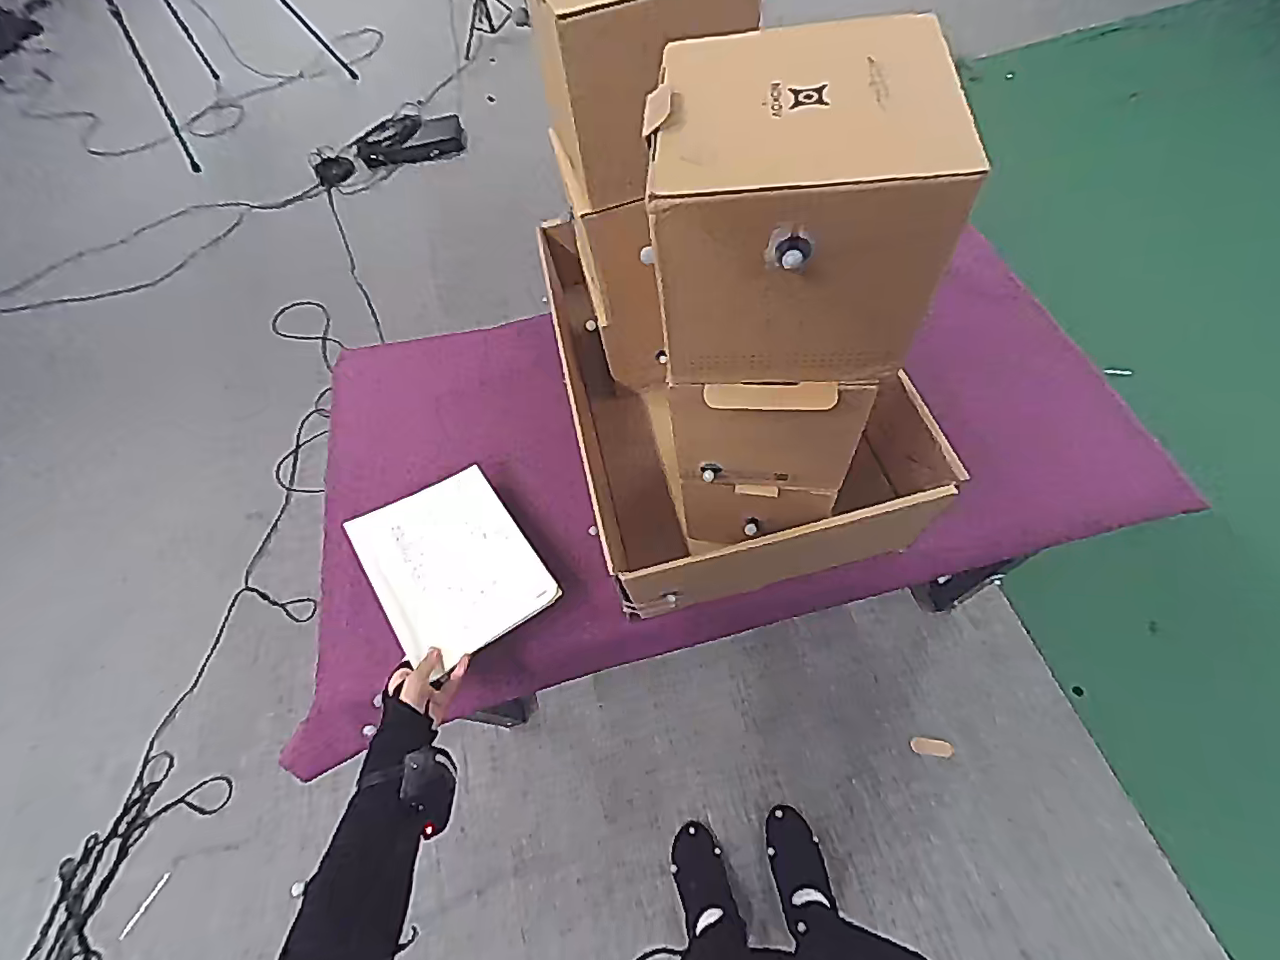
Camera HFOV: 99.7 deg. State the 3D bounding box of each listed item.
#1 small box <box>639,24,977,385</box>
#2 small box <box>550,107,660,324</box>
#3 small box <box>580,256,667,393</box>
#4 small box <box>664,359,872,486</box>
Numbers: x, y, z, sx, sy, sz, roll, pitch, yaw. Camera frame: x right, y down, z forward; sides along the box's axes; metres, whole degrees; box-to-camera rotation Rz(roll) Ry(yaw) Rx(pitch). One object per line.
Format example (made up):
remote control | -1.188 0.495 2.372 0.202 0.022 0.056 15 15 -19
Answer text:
small box | 0.104 -0.183 0.391 0.179 0.176 0.168 1 62 9
small box | 0.005 -0.323 0.674 0.179 0.176 0.168 -17 62 -2
small box | 0.017 -0.251 0.818 0.168 0.176 0.179 -15 63 -1
small box | 0.122 -0.107 0.534 0.168 0.176 0.179 3 61 11
